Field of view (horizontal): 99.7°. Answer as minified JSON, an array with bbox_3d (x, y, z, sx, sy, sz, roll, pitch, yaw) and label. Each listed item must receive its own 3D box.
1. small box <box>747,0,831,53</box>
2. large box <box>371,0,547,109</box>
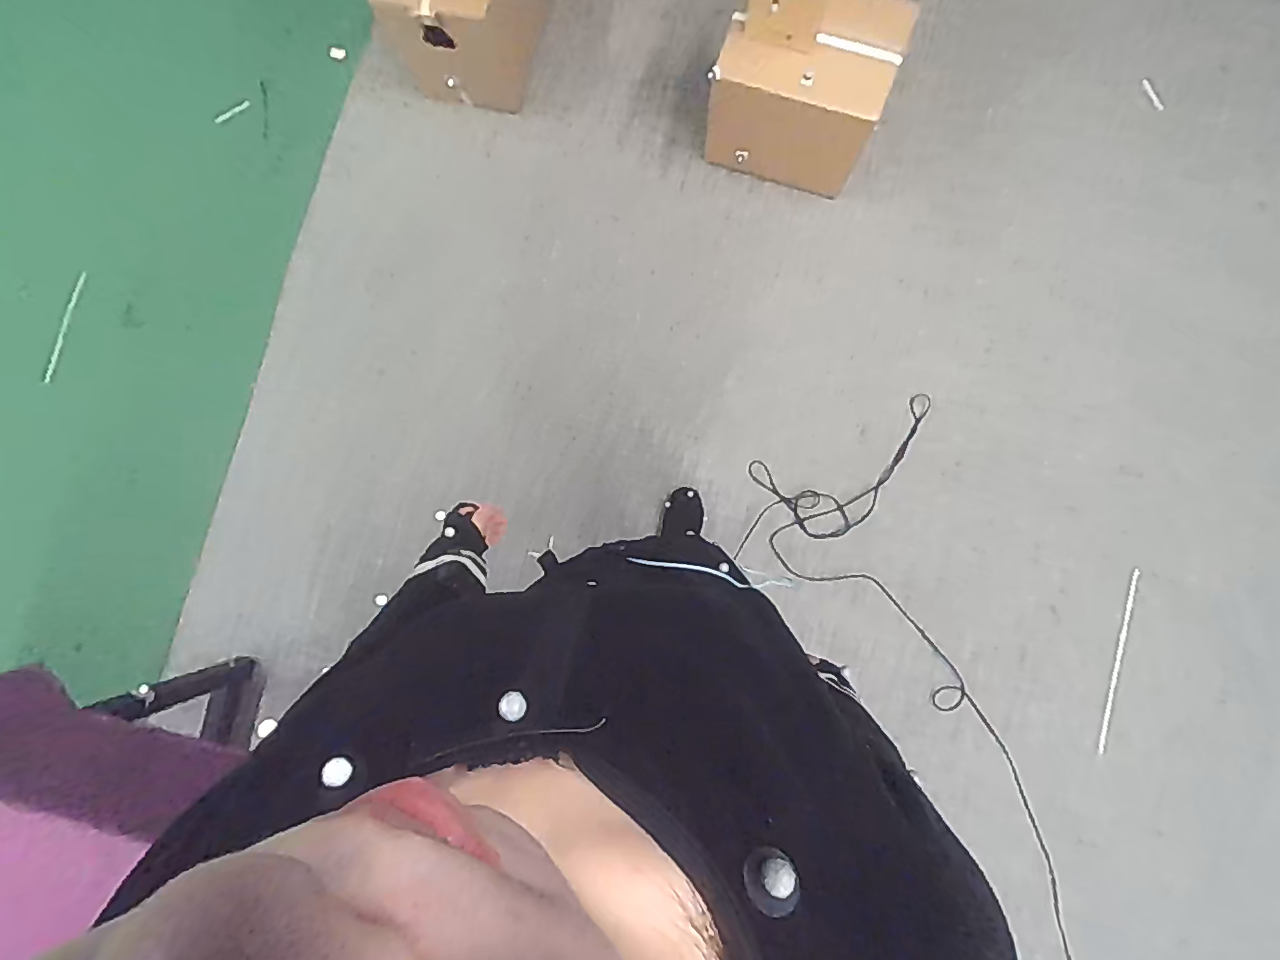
[{"bbox_3d":[0.344,-1.096,1.185,0.168,0.176,0.179,20,85,4],"label":"small box"},{"bbox_3d":[-0.475,-1.338,1.496,0.320,0.320,0.408,14,86,4],"label":"large box"}]
